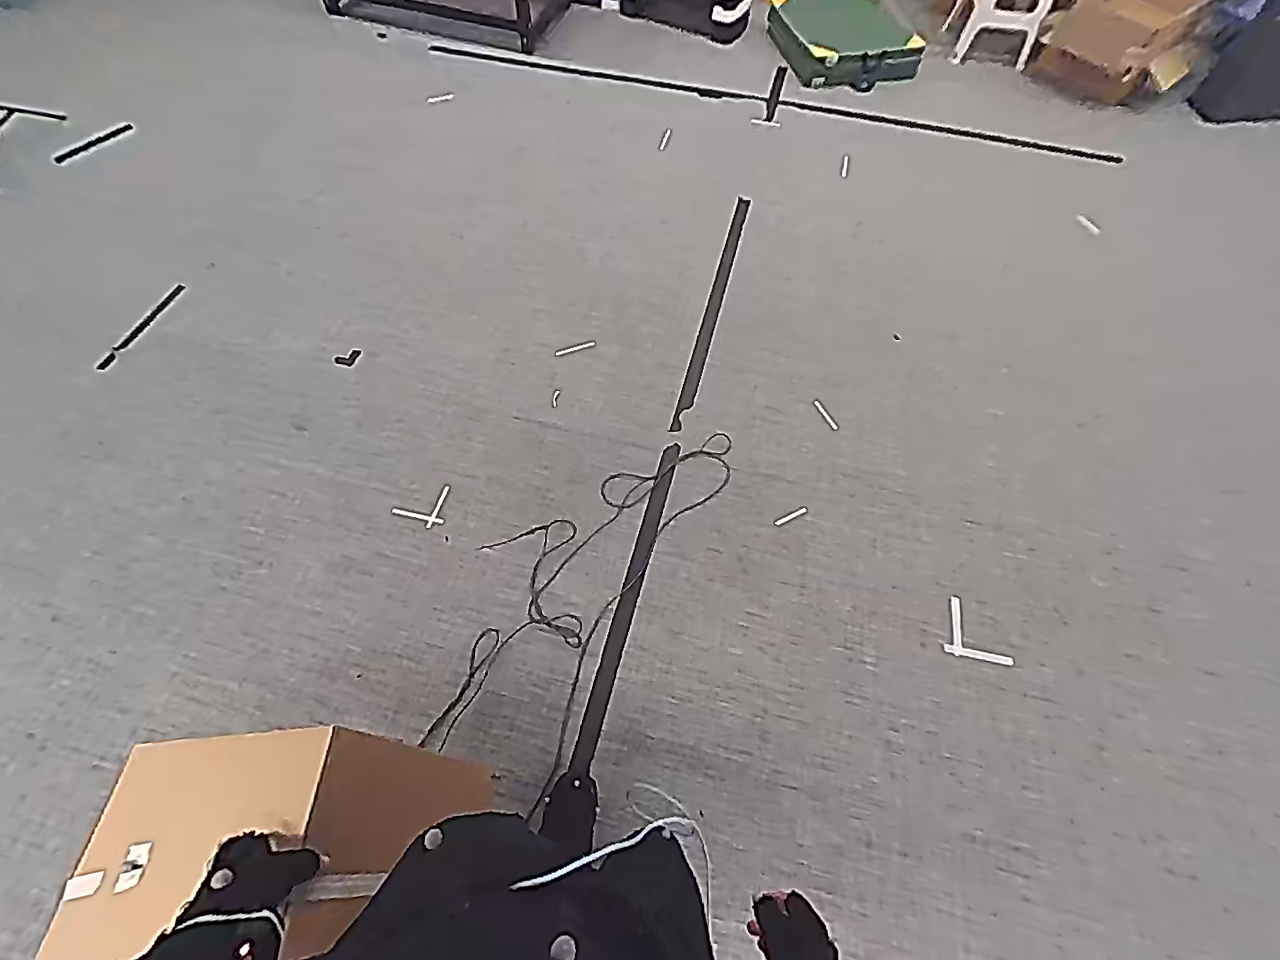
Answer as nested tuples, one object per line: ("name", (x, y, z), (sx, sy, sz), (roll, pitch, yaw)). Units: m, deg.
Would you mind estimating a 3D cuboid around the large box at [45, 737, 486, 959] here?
("large box", (-0.467, 0.568, 0.755), (0.320, 0.408, 0.320), (-9, 54, 12))
